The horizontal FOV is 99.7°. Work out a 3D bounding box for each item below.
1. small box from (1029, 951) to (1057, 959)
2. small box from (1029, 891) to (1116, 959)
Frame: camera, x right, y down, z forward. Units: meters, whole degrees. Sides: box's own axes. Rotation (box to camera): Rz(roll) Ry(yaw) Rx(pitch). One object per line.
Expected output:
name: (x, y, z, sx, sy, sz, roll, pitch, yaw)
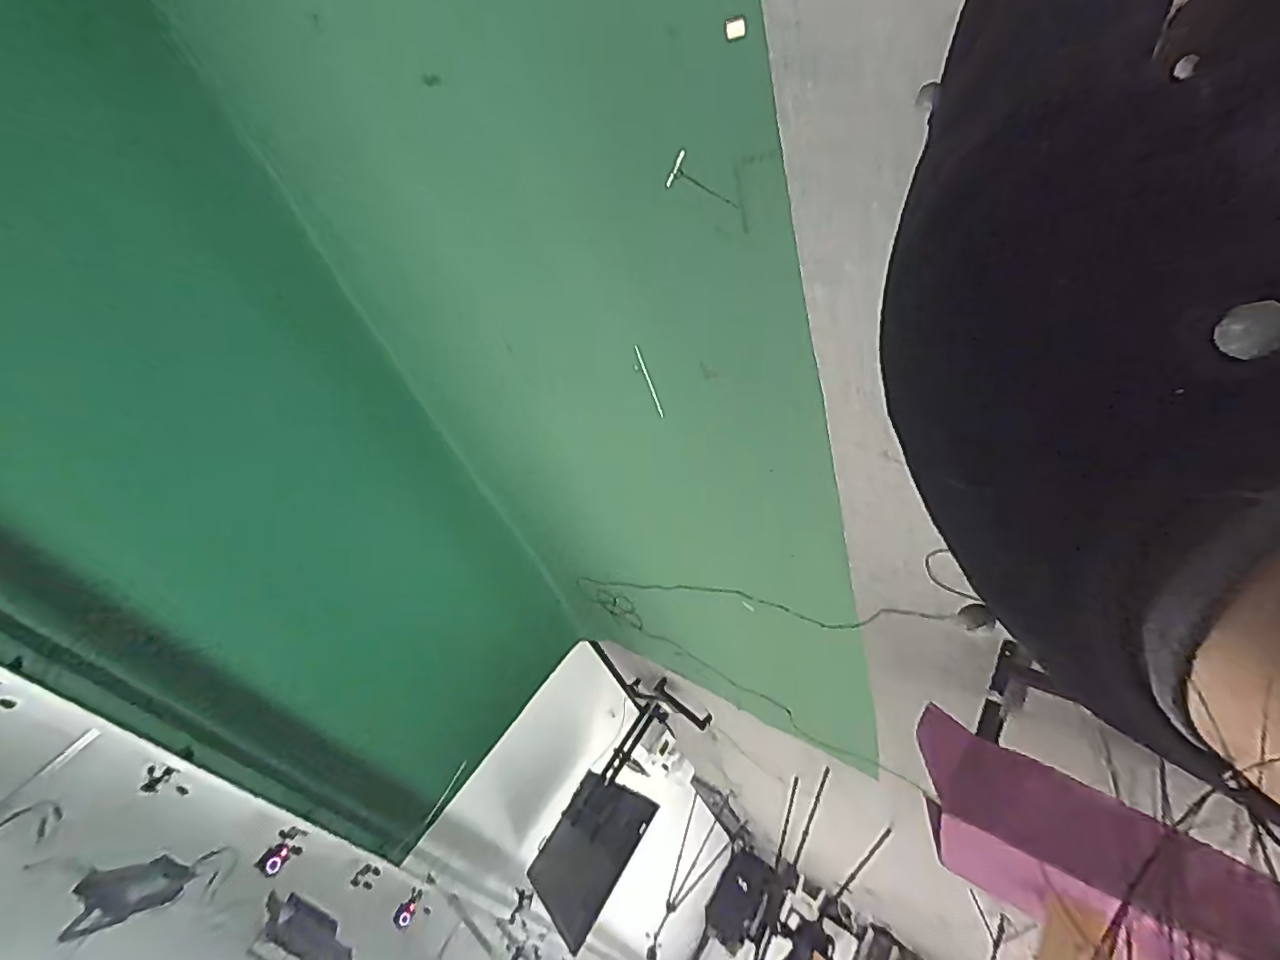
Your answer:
small box: (1.228, 1.522, 1.573, 0.179, 0.176, 0.168, 13, 140, 39)
small box: (1.323, 1.413, 1.653, 0.179, 0.176, 0.168, 15, 141, 39)
